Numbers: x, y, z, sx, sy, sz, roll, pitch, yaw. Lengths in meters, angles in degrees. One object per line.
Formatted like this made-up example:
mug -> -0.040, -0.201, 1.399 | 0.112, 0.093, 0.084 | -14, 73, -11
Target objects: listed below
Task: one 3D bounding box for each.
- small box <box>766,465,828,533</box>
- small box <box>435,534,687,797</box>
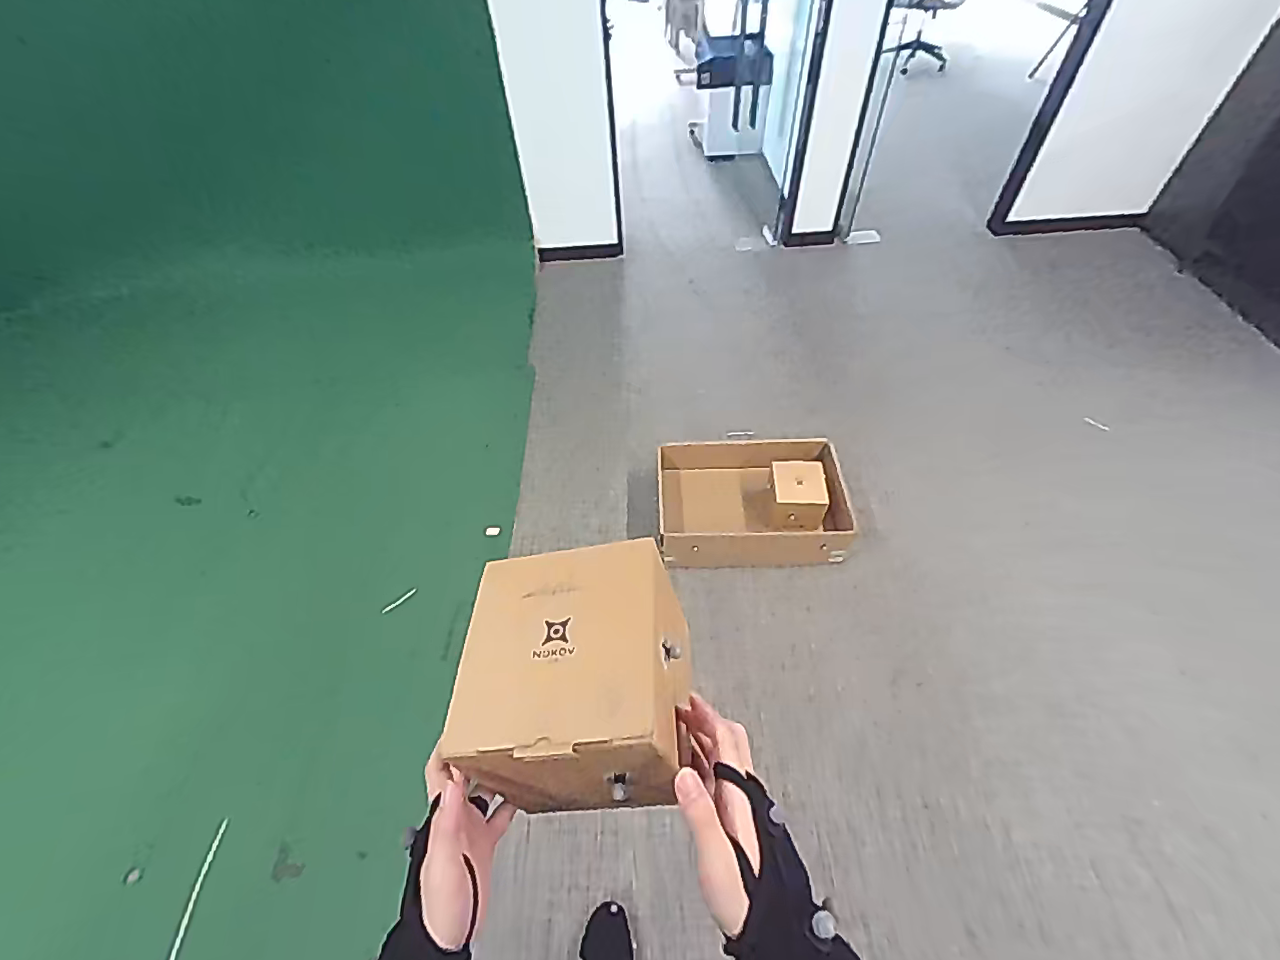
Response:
small box -> 0.522, 0.066, 1.822 | 0.168, 0.176, 0.179 | 1, 51, 4
small box -> -0.052, 0.177, 0.497 | 0.168, 0.176, 0.179 | -9, 44, 11
